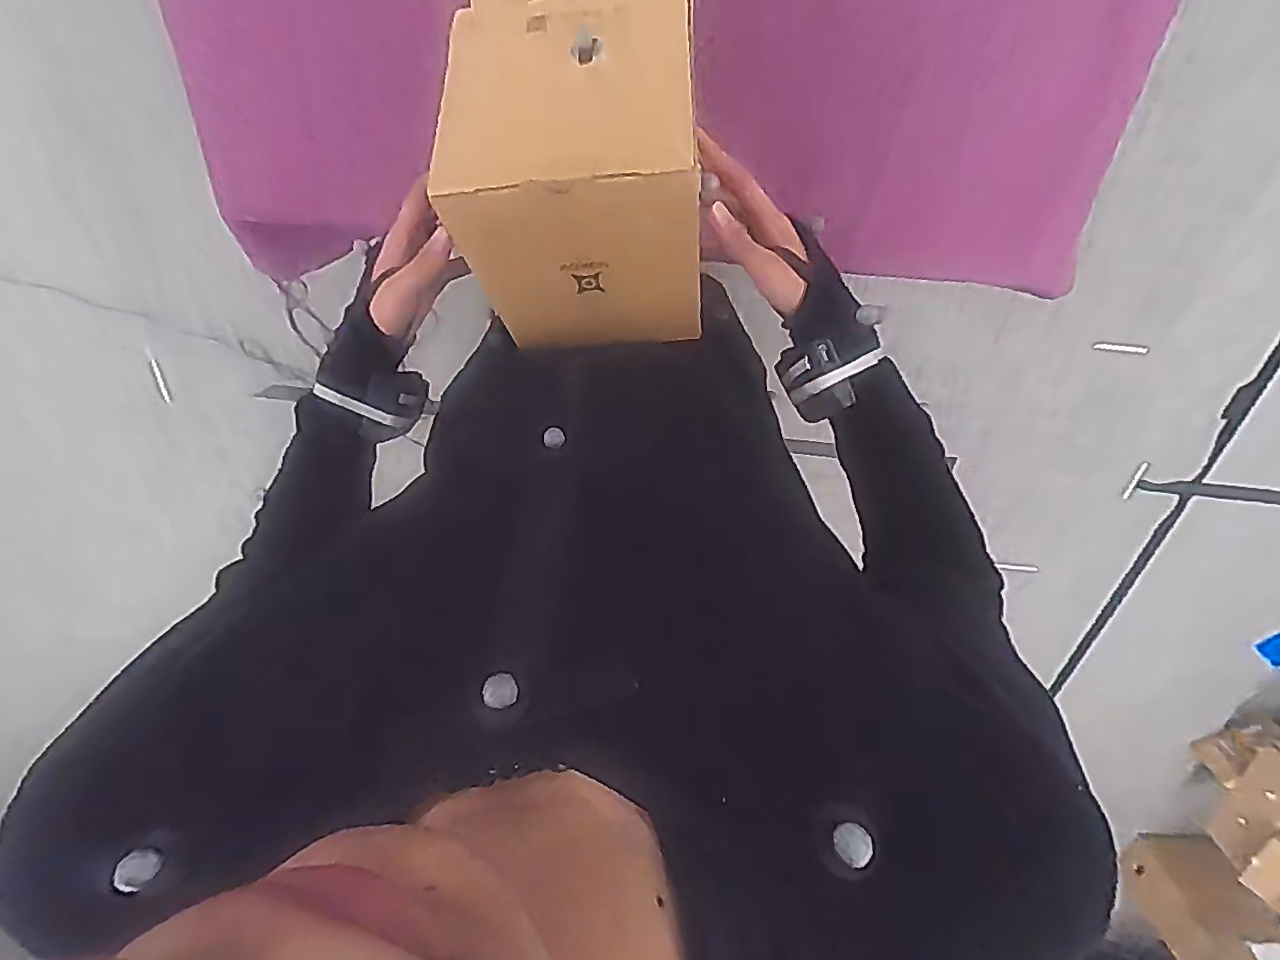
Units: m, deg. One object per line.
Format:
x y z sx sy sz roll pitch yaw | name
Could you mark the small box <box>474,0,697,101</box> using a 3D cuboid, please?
-0.038 -0.428 0.441 0.168 0.176 0.179 0 119 3 | small box
